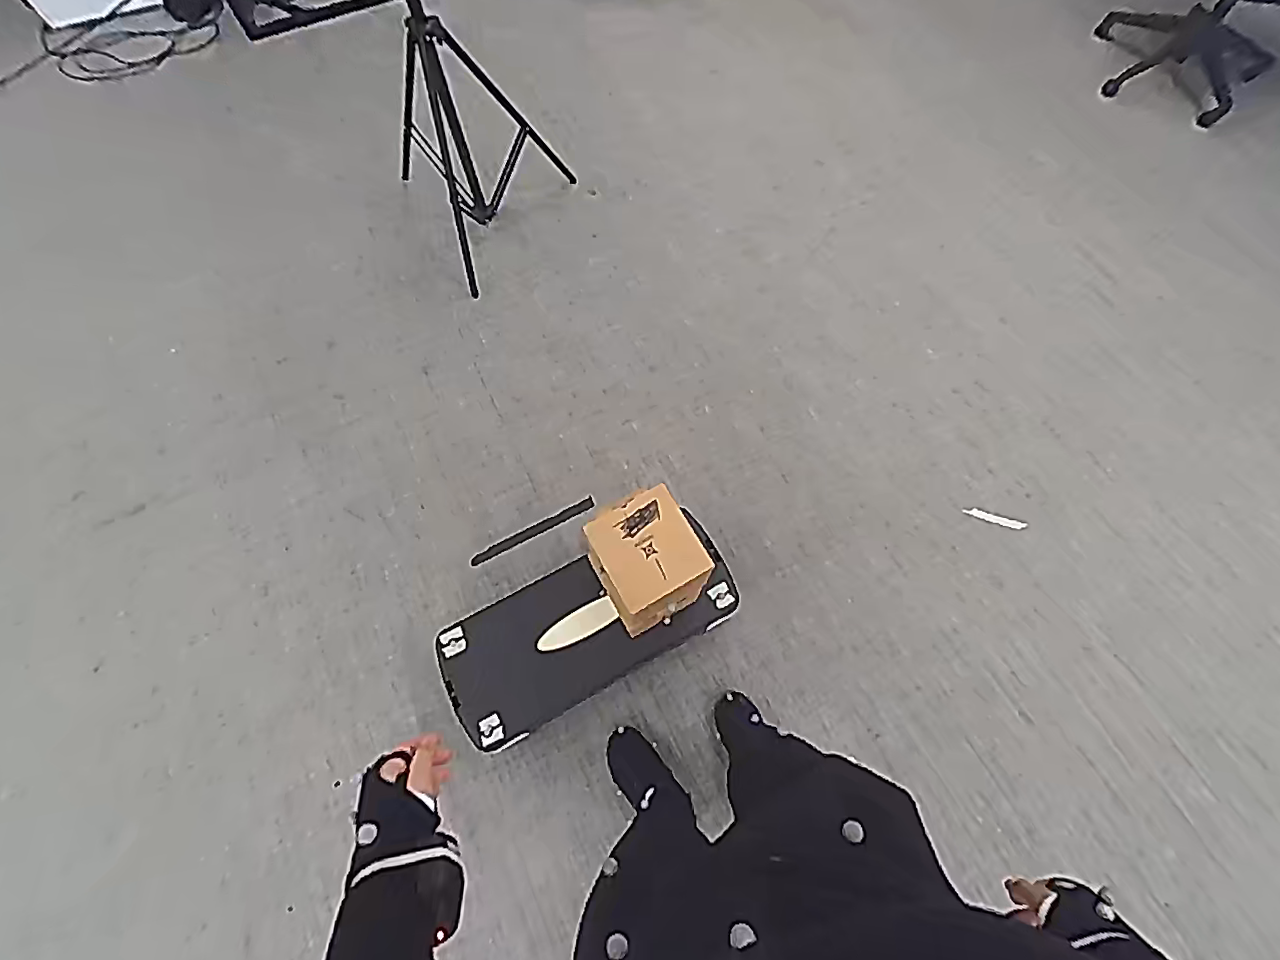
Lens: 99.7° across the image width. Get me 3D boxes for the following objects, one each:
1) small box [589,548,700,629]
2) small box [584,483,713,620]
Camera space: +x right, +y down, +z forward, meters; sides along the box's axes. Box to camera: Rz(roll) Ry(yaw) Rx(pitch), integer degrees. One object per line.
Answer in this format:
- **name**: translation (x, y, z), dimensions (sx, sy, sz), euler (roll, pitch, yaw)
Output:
- **small box**: translation (0.007, 0.204, 1.152), dimensions (0.168, 0.176, 0.179), euler (-28, 72, -9)
- **small box**: translation (0.012, 0.139, 1.001), dimensions (0.168, 0.176, 0.179), euler (-29, 72, -9)
